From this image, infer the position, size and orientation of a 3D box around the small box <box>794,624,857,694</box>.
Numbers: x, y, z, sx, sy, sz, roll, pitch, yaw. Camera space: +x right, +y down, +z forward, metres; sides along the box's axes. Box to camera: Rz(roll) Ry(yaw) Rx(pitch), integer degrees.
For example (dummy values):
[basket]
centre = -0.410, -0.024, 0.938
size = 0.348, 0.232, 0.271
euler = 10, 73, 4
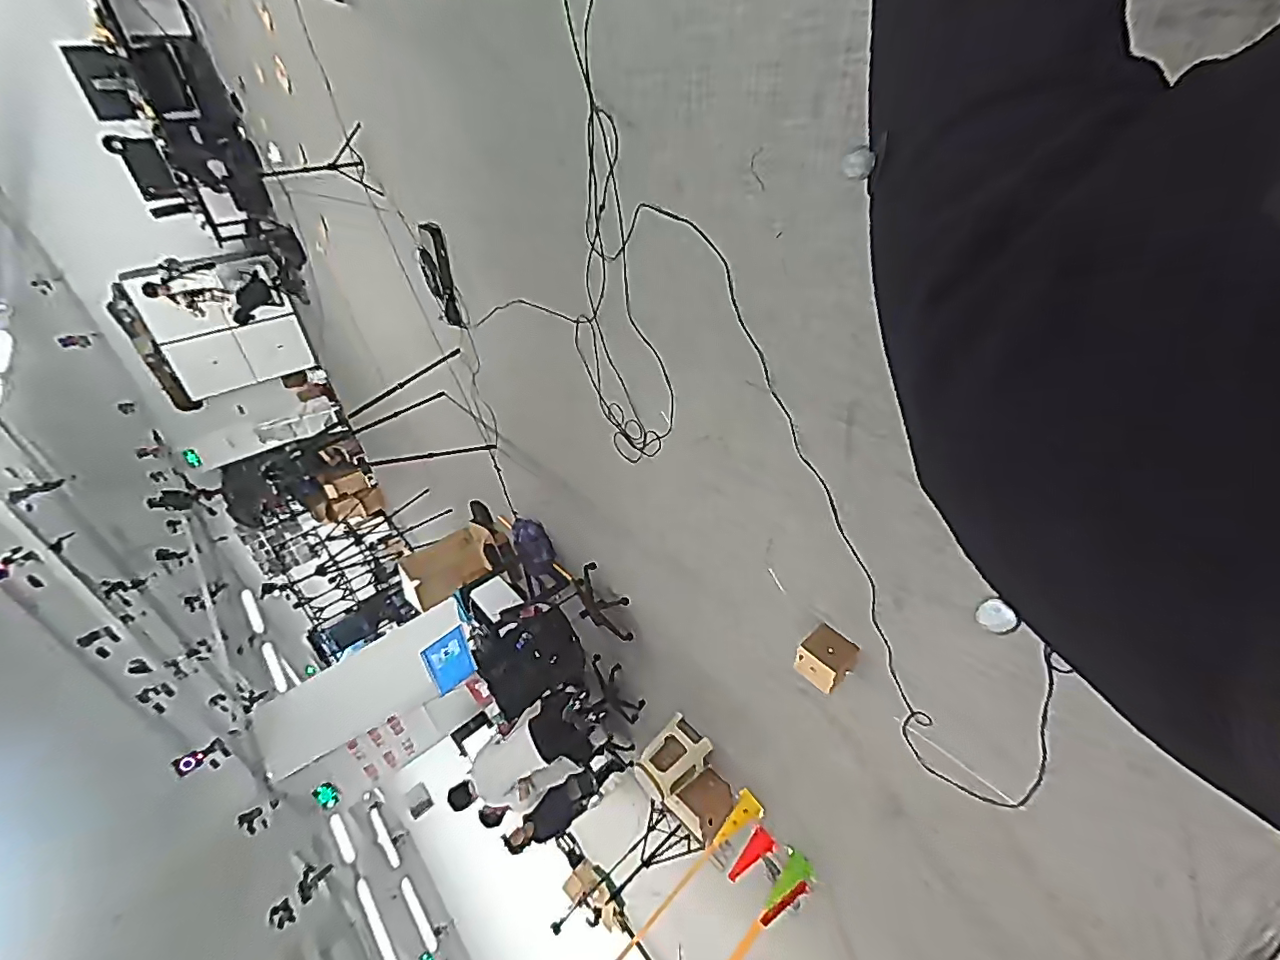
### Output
[small box]
centre = 0.766, 0.733, 2.230
size = 0.179, 0.176, 0.168
euler = 34, 140, 36
